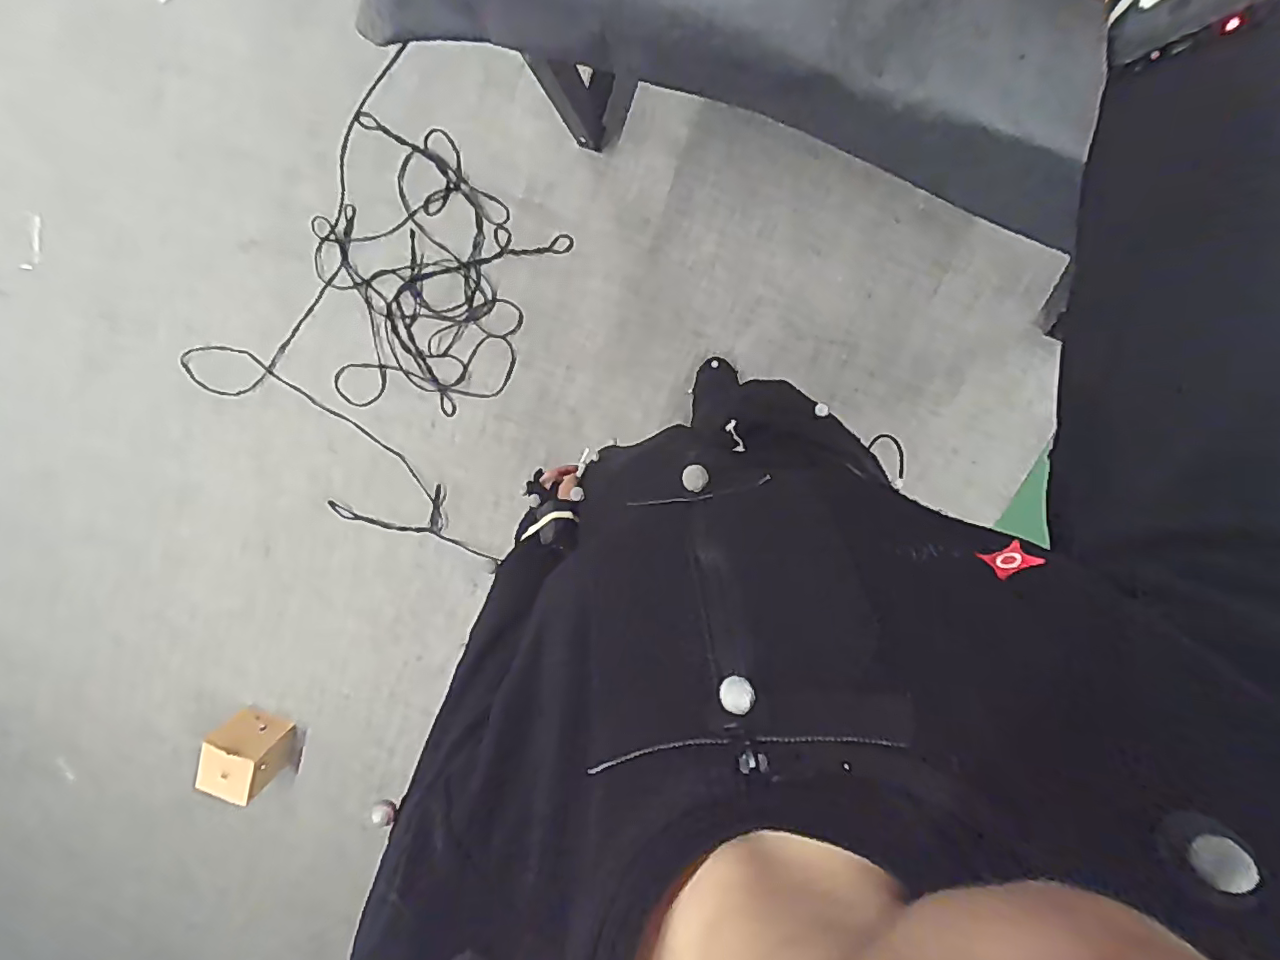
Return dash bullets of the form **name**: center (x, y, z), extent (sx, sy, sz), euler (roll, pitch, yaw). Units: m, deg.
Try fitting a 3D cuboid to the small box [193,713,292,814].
- **small box**: center (-1.194, 0.850, 1.635), extent (0.168, 0.176, 0.179), euler (21, 104, 1)
